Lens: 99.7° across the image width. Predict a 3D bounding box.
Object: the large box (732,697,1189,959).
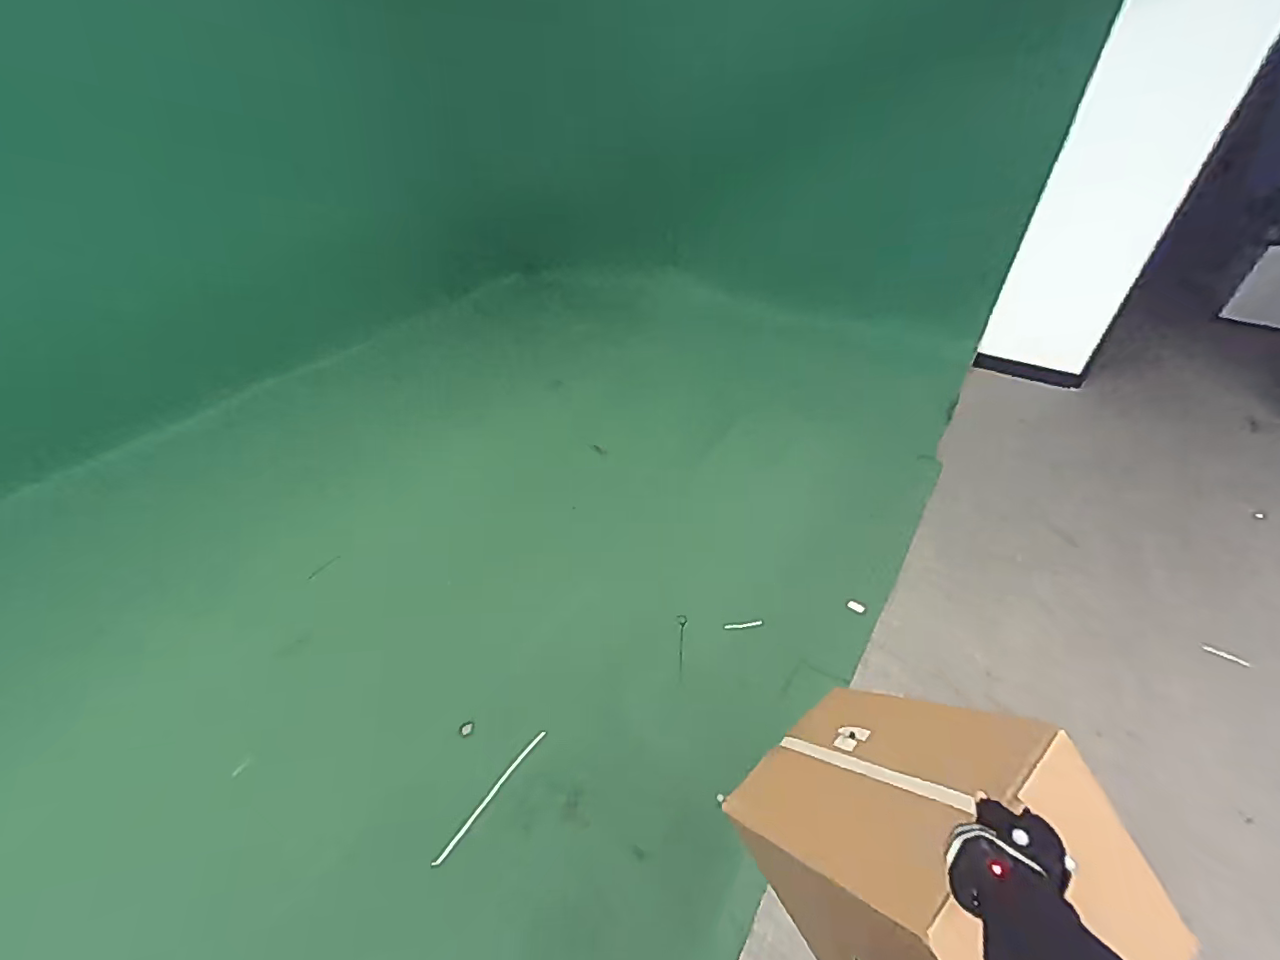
[{"bbox_3d":[0.416,0.557,0.777,0.320,0.408,0.320,-30,87,-25],"label":"large box"}]
